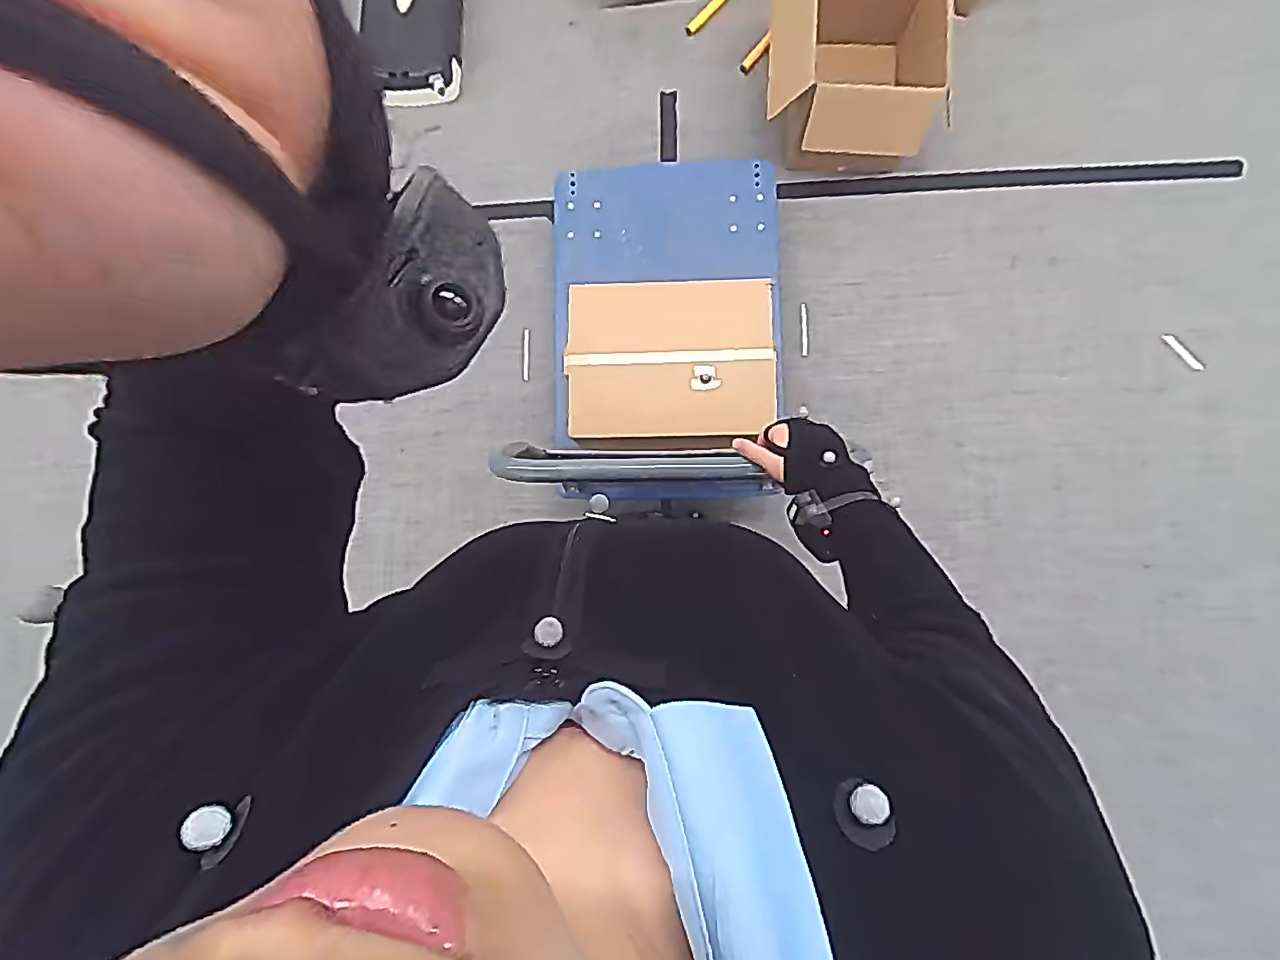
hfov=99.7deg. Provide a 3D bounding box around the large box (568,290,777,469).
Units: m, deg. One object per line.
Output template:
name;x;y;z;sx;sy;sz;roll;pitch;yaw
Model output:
large box;0.063;-0.200;1.195;0.408;0.320;0.320;-1;85;2
